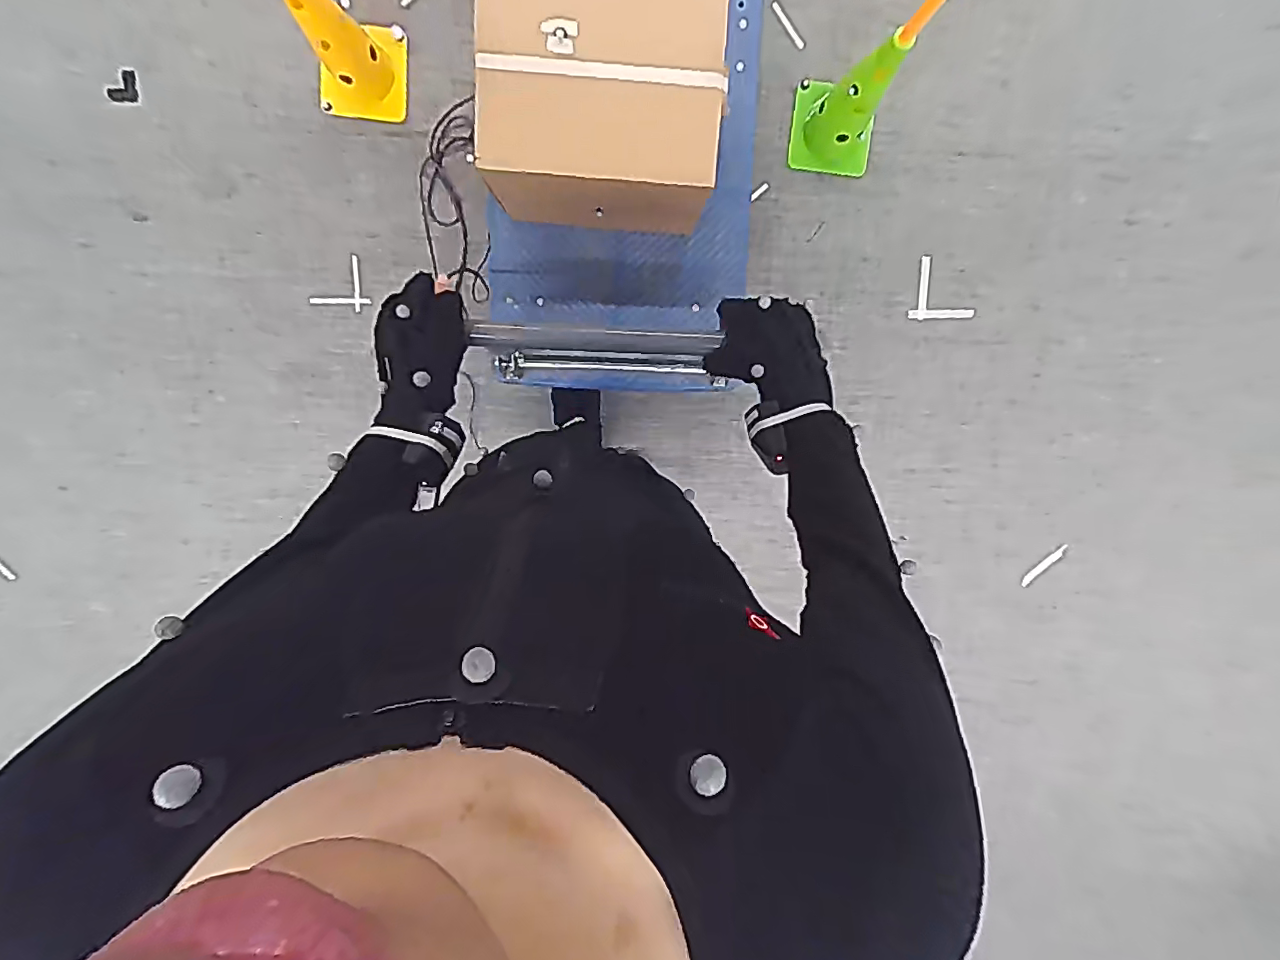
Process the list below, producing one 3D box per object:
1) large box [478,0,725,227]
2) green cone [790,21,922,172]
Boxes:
[{"bbox_3d":[-0.066,-0.689,1.031,0.408,0.320,0.320,3,100,-1],"label":"large box"},{"bbox_3d":[0.484,-0.845,1.163,0.202,0.368,0.200,5,100,-4],"label":"green cone"}]
